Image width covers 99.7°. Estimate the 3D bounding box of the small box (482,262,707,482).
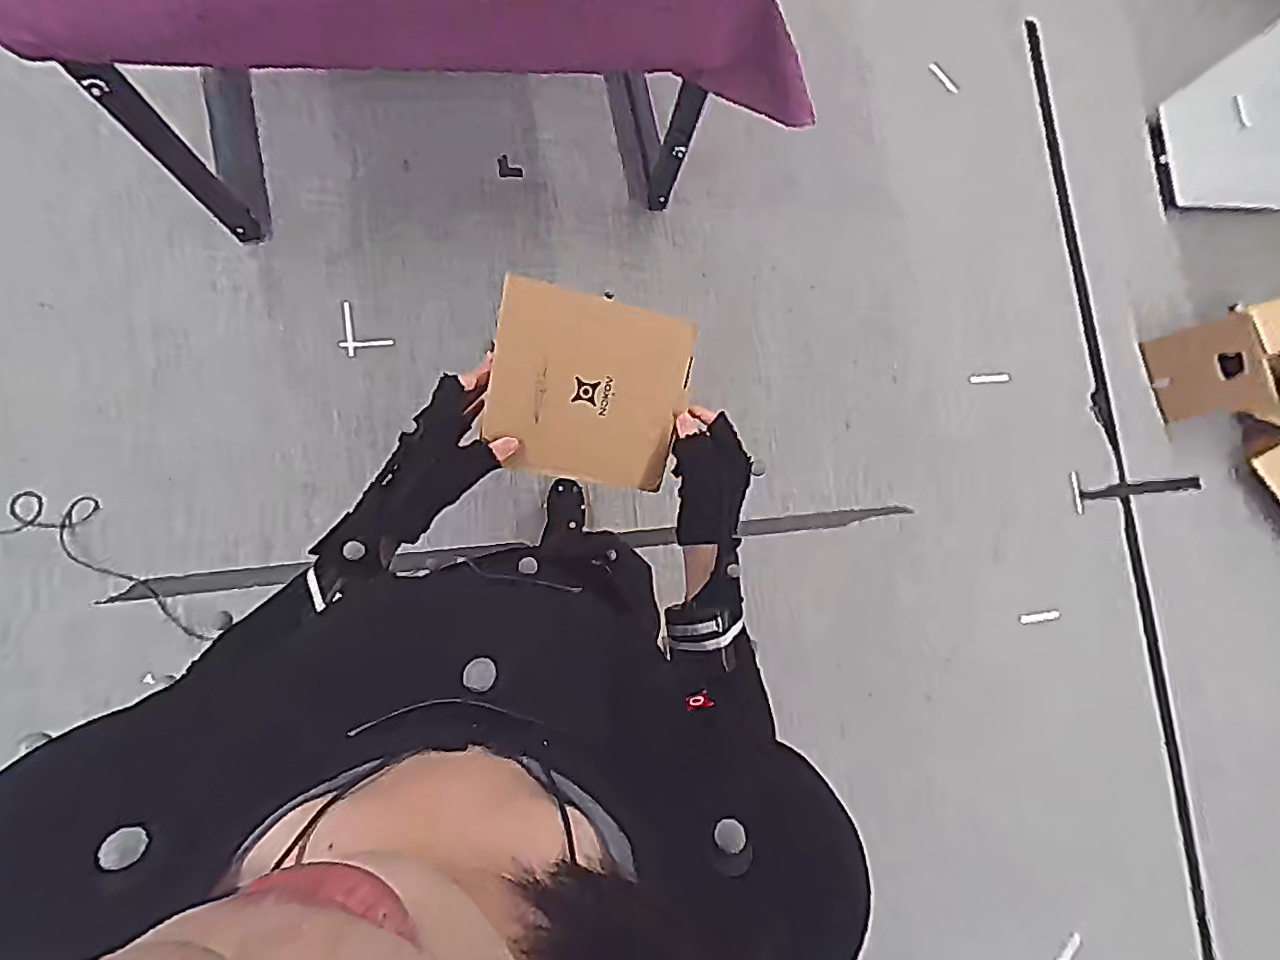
[{"bbox_3d":[-0.056,-0.109,0.549,0.179,0.176,0.168,9,103,-15],"label":"small box"}]
